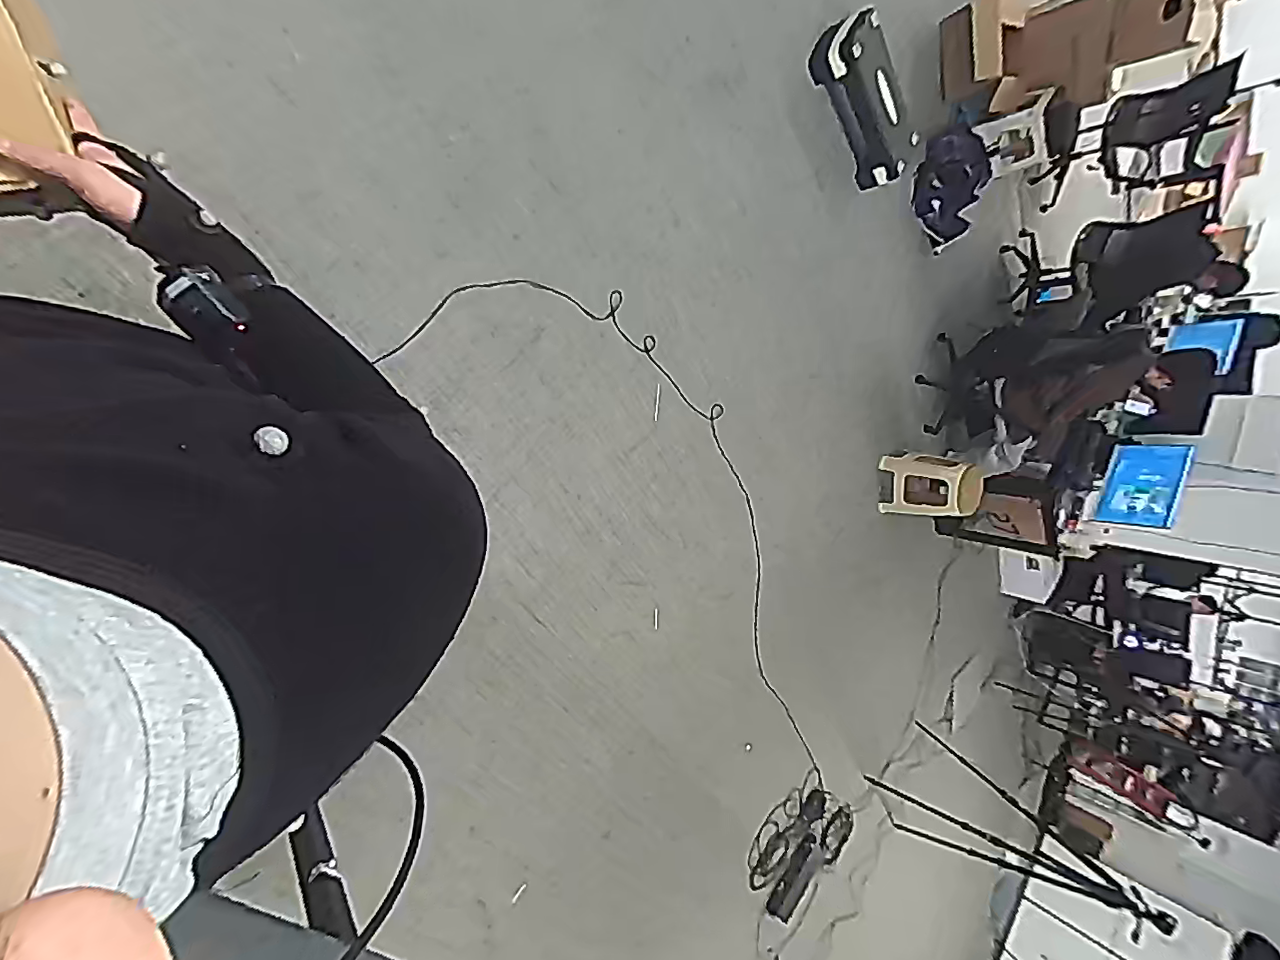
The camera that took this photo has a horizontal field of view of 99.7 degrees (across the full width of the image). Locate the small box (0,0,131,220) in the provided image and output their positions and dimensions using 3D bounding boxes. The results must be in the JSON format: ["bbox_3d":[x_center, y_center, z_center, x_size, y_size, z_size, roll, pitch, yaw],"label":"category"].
[{"bbox_3d":[-0.546,-0.302,0.417,0.168,0.176,0.179,-23,118,-27],"label":"small box"}]
